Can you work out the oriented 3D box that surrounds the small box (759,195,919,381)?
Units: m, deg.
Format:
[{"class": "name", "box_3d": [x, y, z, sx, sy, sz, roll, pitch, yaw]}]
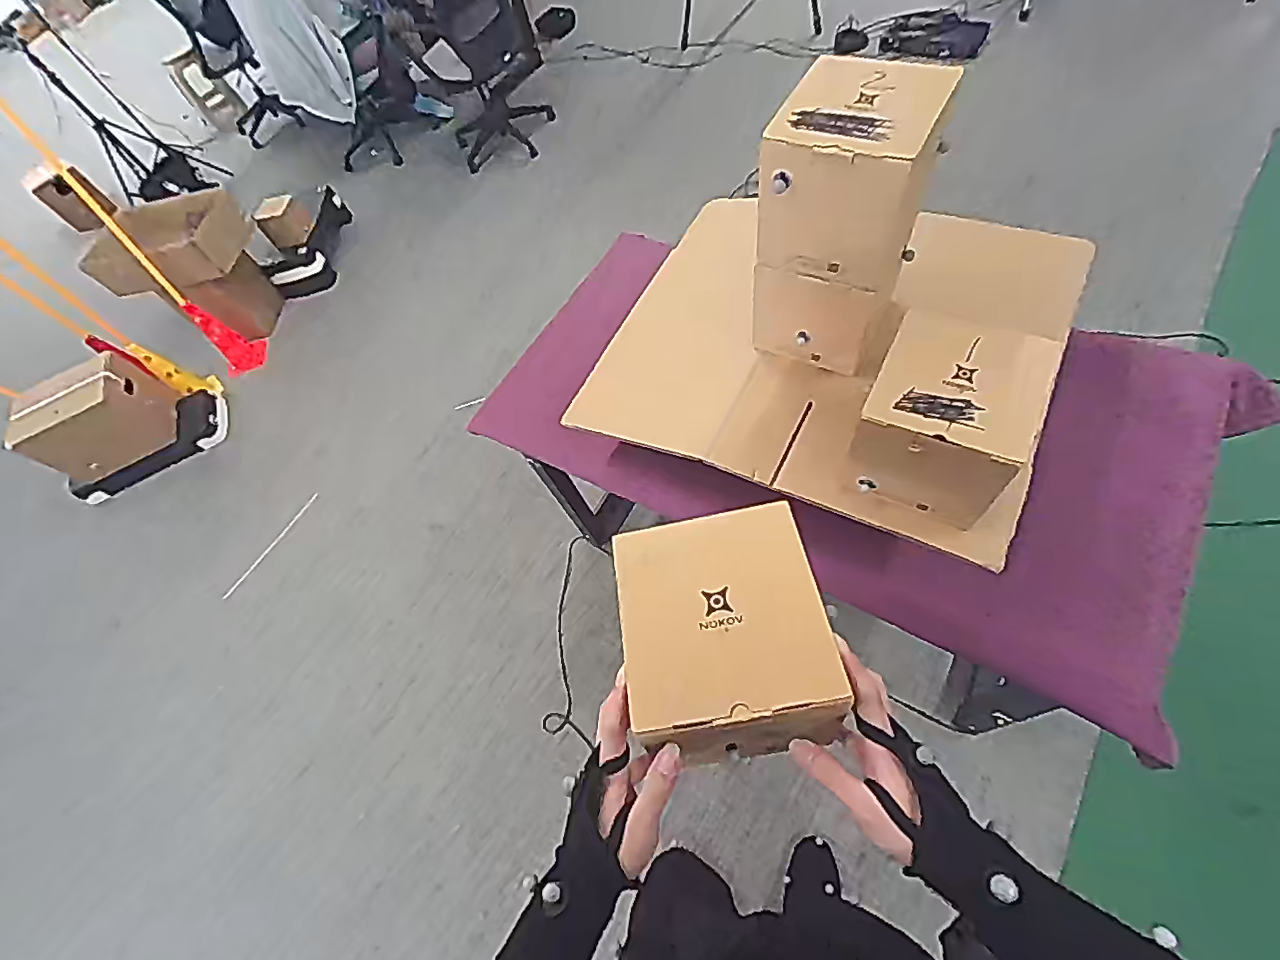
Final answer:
[{"class": "small box", "box_3d": [0.283, -0.281, 0.805, 0.168, 0.176, 0.179, 24, 69, 22]}]

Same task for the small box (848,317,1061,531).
[{"class": "small box", "box_3d": [0.370, -0.063, 0.666, 0.168, 0.176, 0.179, 22, 67, 22]}]
